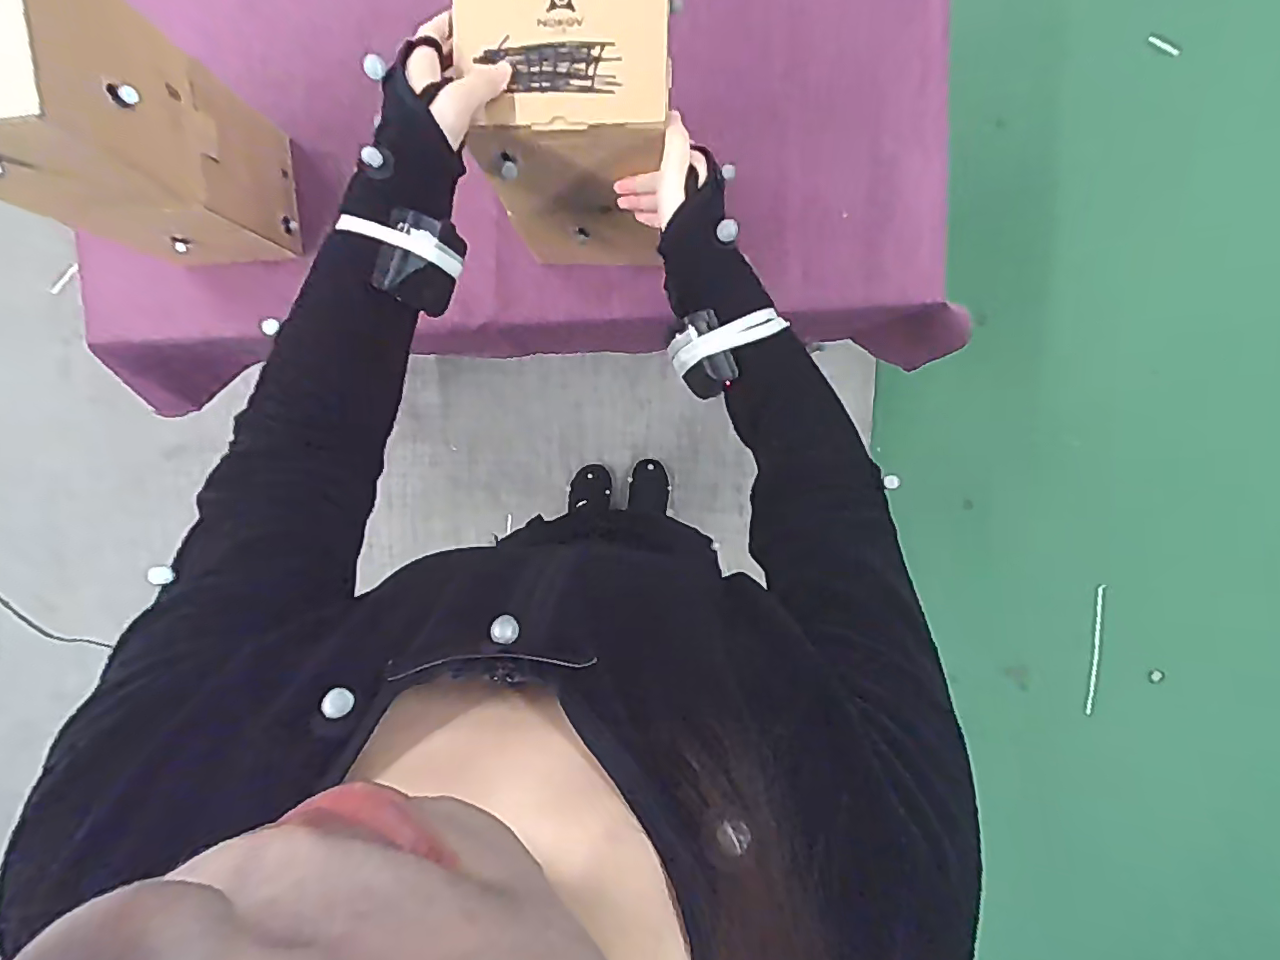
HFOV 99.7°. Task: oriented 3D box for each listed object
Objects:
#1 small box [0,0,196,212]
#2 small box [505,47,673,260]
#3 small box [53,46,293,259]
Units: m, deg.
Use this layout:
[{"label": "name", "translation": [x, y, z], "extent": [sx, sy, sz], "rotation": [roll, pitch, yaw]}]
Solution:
[{"label": "small box", "translation": [-0.558, -0.370, 0.499], "extent": [0.179, 0.176, 0.168], "rotation": [-5, 95, 3]}, {"label": "small box", "translation": [-0.052, -0.374, 0.650], "extent": [0.179, 0.176, 0.168], "rotation": [2, 96, 1]}, {"label": "small box", "translation": [-0.559, -0.383, 0.661], "extent": [0.179, 0.176, 0.168], "rotation": [-4, 95, 3]}]
